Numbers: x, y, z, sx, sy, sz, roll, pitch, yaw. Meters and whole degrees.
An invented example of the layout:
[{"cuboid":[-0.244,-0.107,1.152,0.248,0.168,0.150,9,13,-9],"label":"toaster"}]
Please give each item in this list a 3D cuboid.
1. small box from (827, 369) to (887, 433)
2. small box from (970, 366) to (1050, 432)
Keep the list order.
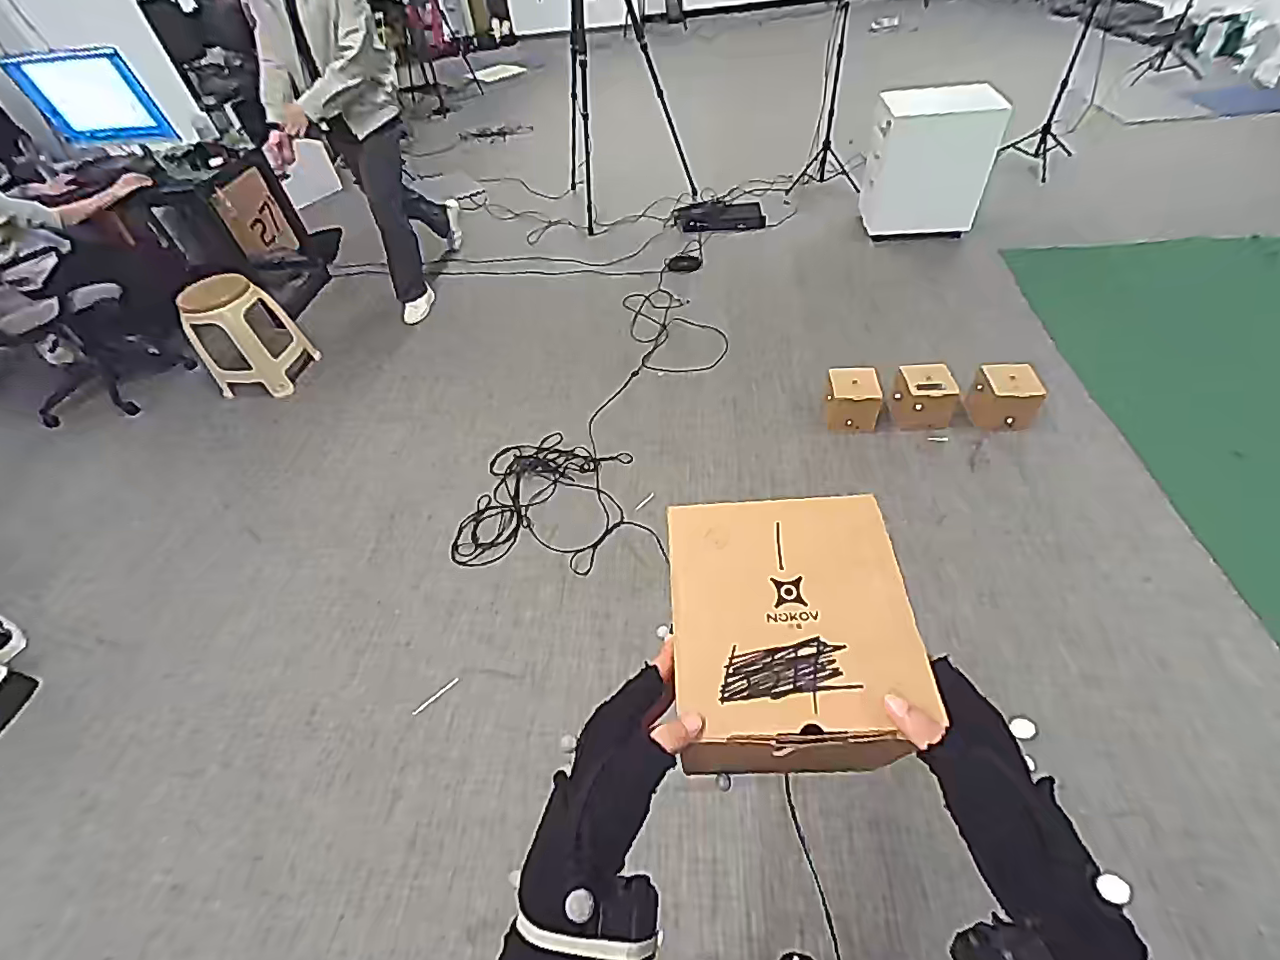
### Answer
[{"cuboid":[0.810,-0.299,2.037,0.168,0.176,0.179,1,49,8],"label":"small box"},{"cuboid":[1.335,-0.294,1.966,0.168,0.176,0.179,1,50,8],"label":"small box"}]
